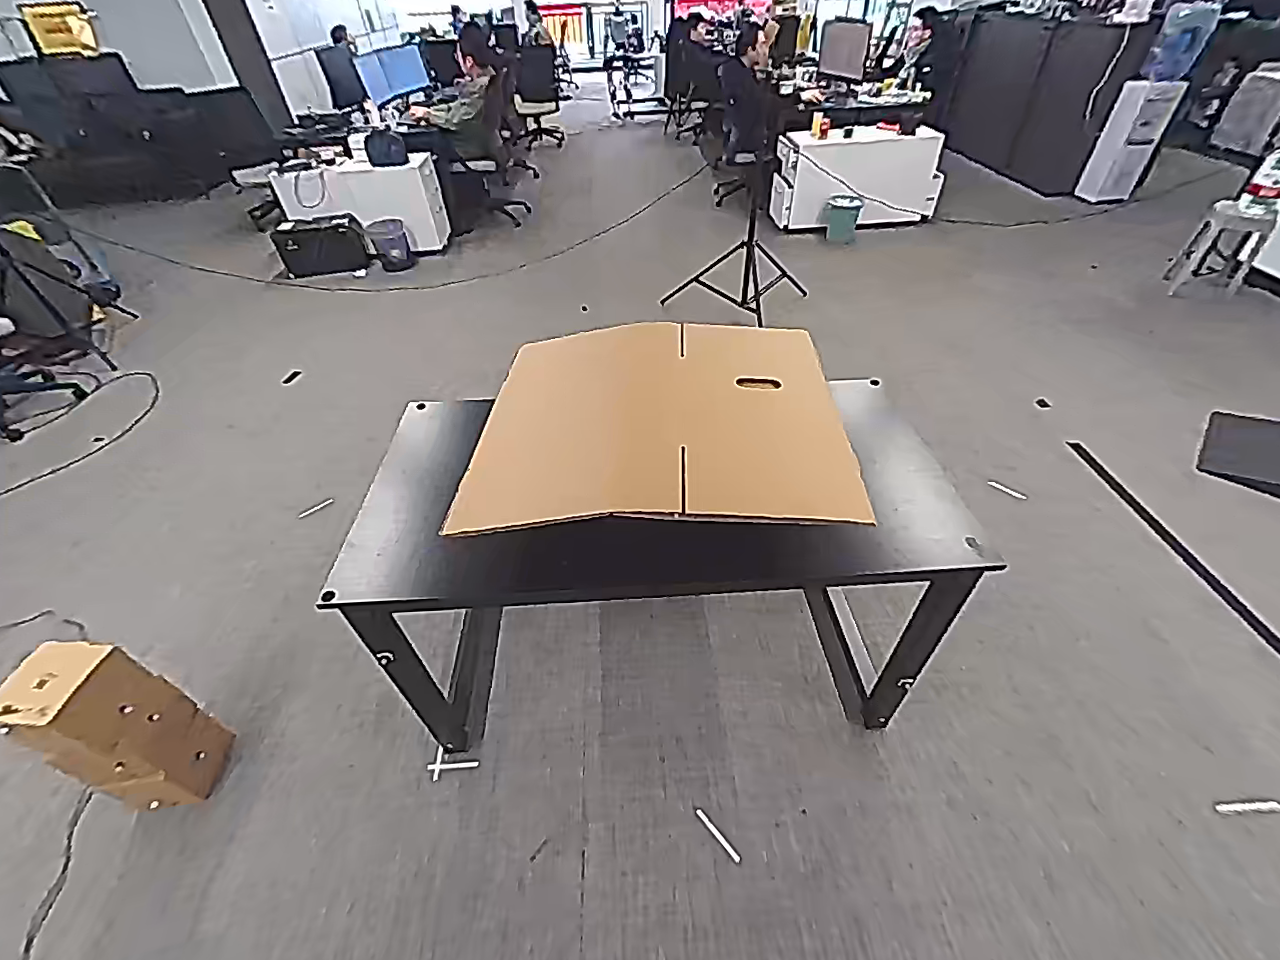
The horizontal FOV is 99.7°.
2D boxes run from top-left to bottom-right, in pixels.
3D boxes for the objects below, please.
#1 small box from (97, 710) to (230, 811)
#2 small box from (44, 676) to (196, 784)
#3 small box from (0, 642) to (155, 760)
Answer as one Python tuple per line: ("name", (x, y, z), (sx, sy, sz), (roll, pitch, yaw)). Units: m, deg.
("small box", (-1.205, 0.720, 1.389), (0.168, 0.176, 0.179), (-6, 44, -3))
("small box", (-1.213, 0.598, 1.283), (0.168, 0.176, 0.179), (-7, 42, -6))
("small box", (-1.217, 0.477, 1.171), (0.168, 0.176, 0.179), (2, 42, 5))
